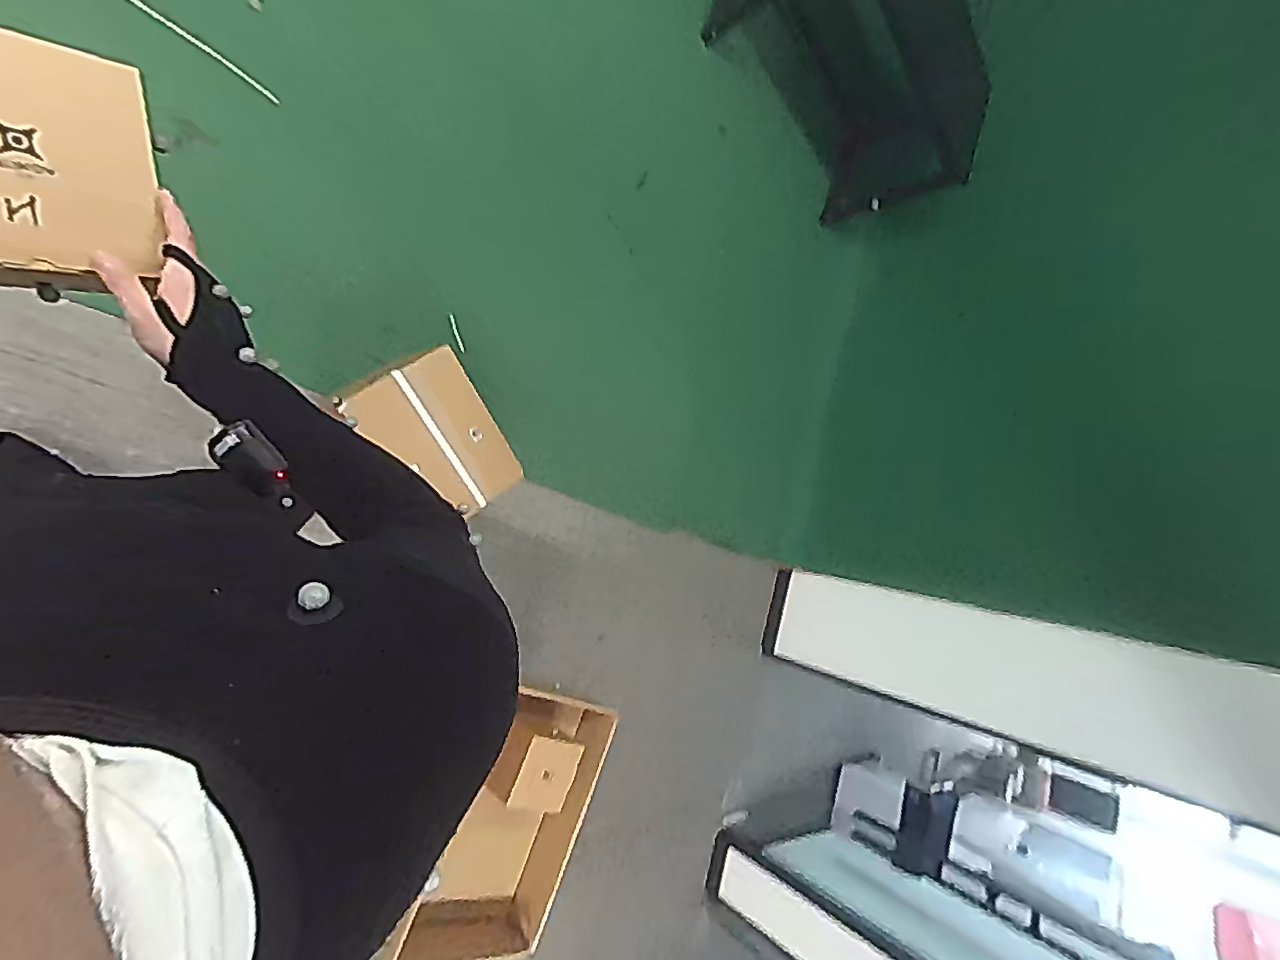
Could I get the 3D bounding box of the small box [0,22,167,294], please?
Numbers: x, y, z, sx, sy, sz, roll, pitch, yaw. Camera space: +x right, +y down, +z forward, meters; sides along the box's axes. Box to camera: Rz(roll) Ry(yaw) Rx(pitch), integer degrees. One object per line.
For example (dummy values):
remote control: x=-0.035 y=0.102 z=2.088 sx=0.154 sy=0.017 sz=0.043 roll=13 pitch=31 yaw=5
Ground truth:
small box: x=-0.542 y=-0.268 z=0.469 sx=0.168 sy=0.176 sz=0.179 roll=-12 pitch=107 yaw=-44
